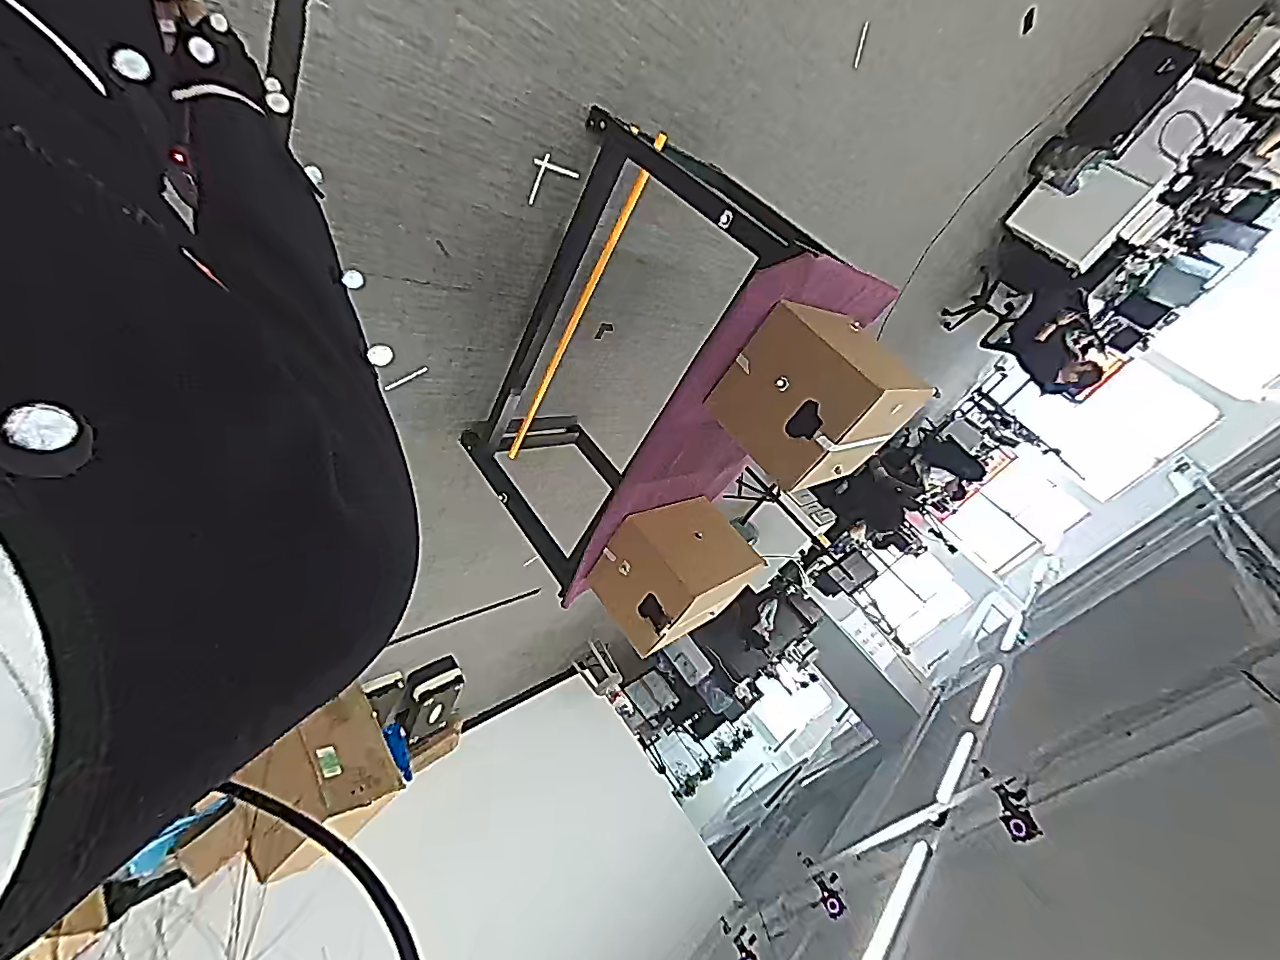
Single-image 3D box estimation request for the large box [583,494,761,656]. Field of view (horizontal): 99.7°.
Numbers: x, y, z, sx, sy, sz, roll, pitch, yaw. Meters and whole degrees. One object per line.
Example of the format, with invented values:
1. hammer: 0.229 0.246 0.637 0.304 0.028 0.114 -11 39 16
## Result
1. large box: 0.099 0.280 1.715 0.408 0.320 0.320 -13 145 -49
